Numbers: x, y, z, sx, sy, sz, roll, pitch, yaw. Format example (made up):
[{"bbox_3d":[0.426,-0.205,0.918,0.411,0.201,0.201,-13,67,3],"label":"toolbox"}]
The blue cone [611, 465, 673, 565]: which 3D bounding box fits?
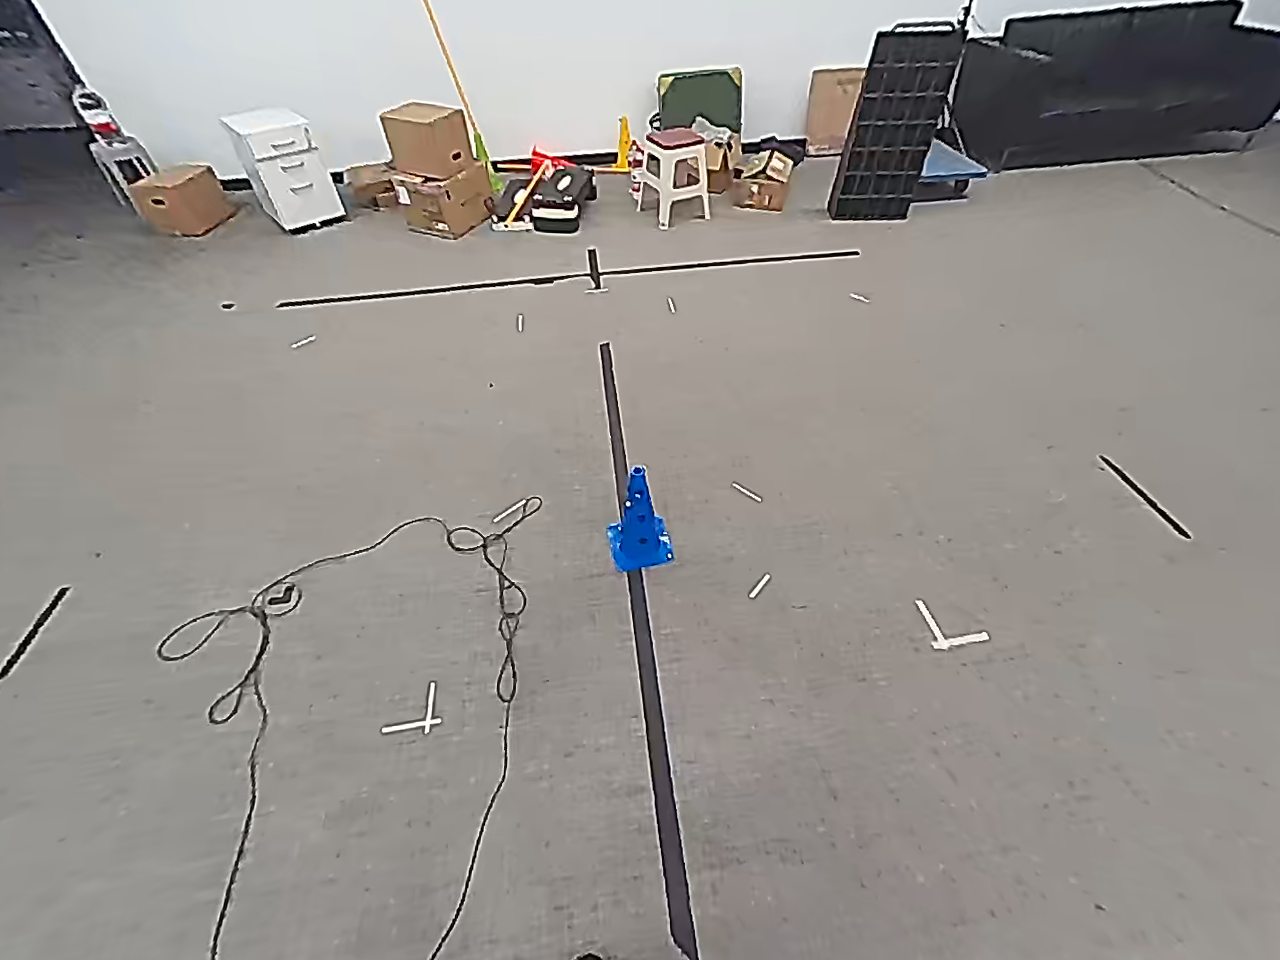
[{"bbox_3d":[0.003,0.094,1.714,0.192,0.380,0.193,-8,48,-7],"label":"blue cone"}]
